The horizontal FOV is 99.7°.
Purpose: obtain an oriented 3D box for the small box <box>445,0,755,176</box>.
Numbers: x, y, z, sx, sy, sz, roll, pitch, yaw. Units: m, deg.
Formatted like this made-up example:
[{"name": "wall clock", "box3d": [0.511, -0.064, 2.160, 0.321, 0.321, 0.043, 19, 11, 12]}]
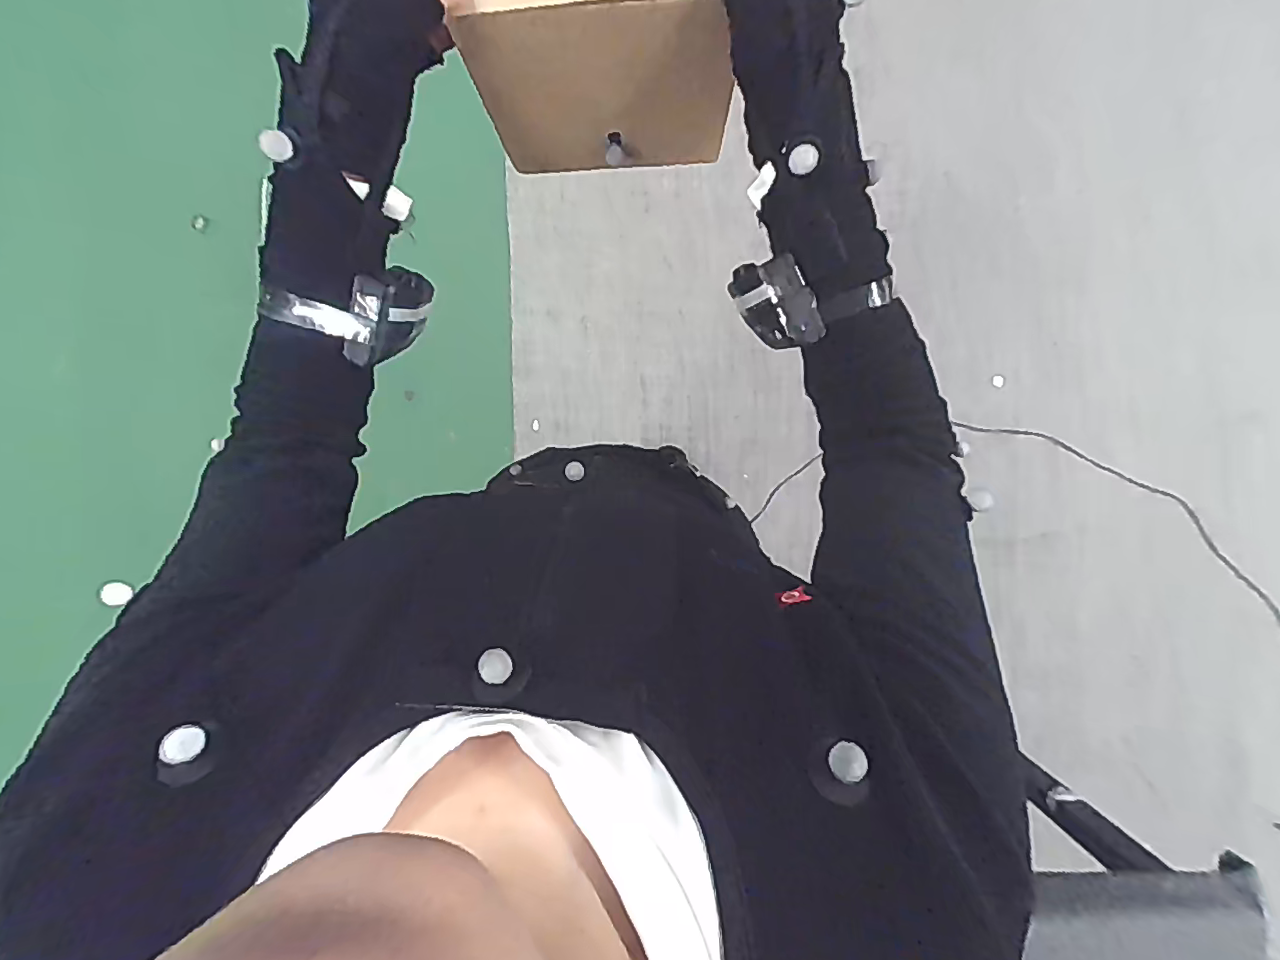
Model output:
[{"name": "small box", "box3d": [-0.025, -0.342, 0.380, 0.179, 0.176, 0.168, -3, 90, 1]}]
